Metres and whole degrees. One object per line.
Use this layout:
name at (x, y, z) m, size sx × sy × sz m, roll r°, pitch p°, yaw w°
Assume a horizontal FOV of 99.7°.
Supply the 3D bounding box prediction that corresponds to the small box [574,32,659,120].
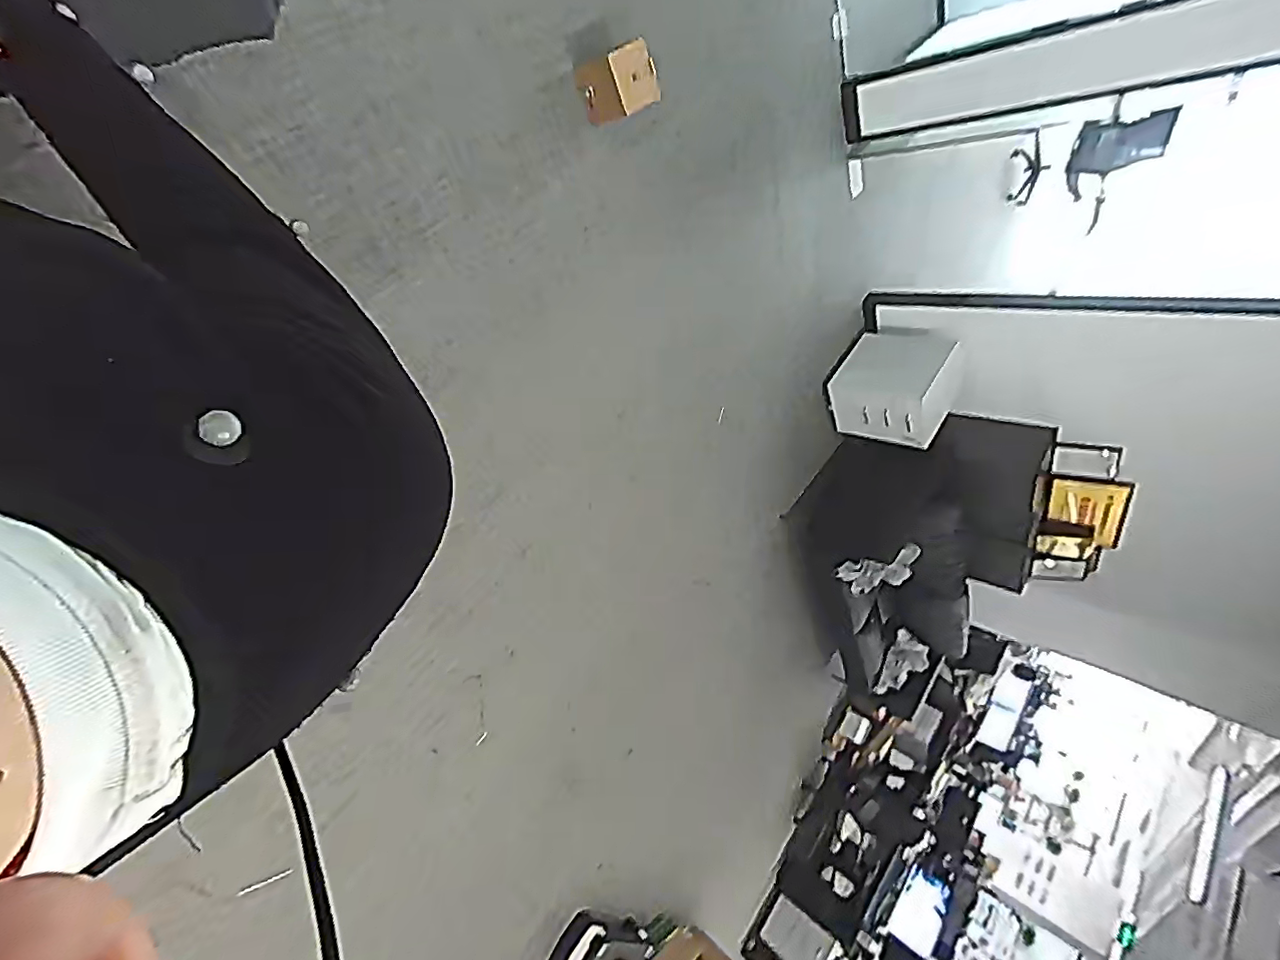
small box at (-0.075, -1.269, 1.702) m, size 0.179 × 0.176 × 0.168 m, roll -45°, pitch 130°, yaw -26°
